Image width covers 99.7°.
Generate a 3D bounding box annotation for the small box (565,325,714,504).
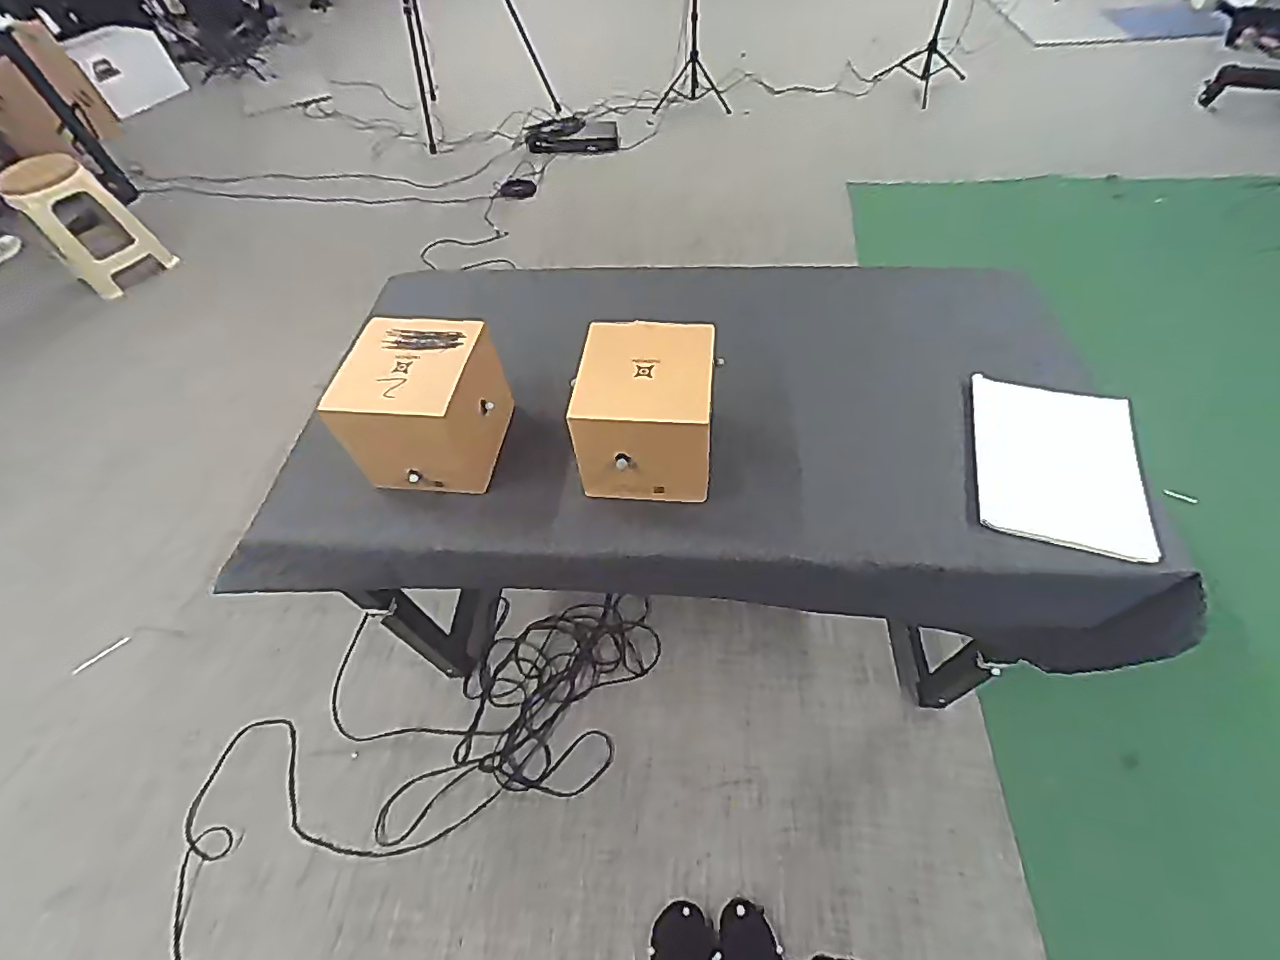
[{"bbox_3d":[0.011,-0.084,0.716,0.168,0.176,0.179,3,54,7],"label":"small box"}]
